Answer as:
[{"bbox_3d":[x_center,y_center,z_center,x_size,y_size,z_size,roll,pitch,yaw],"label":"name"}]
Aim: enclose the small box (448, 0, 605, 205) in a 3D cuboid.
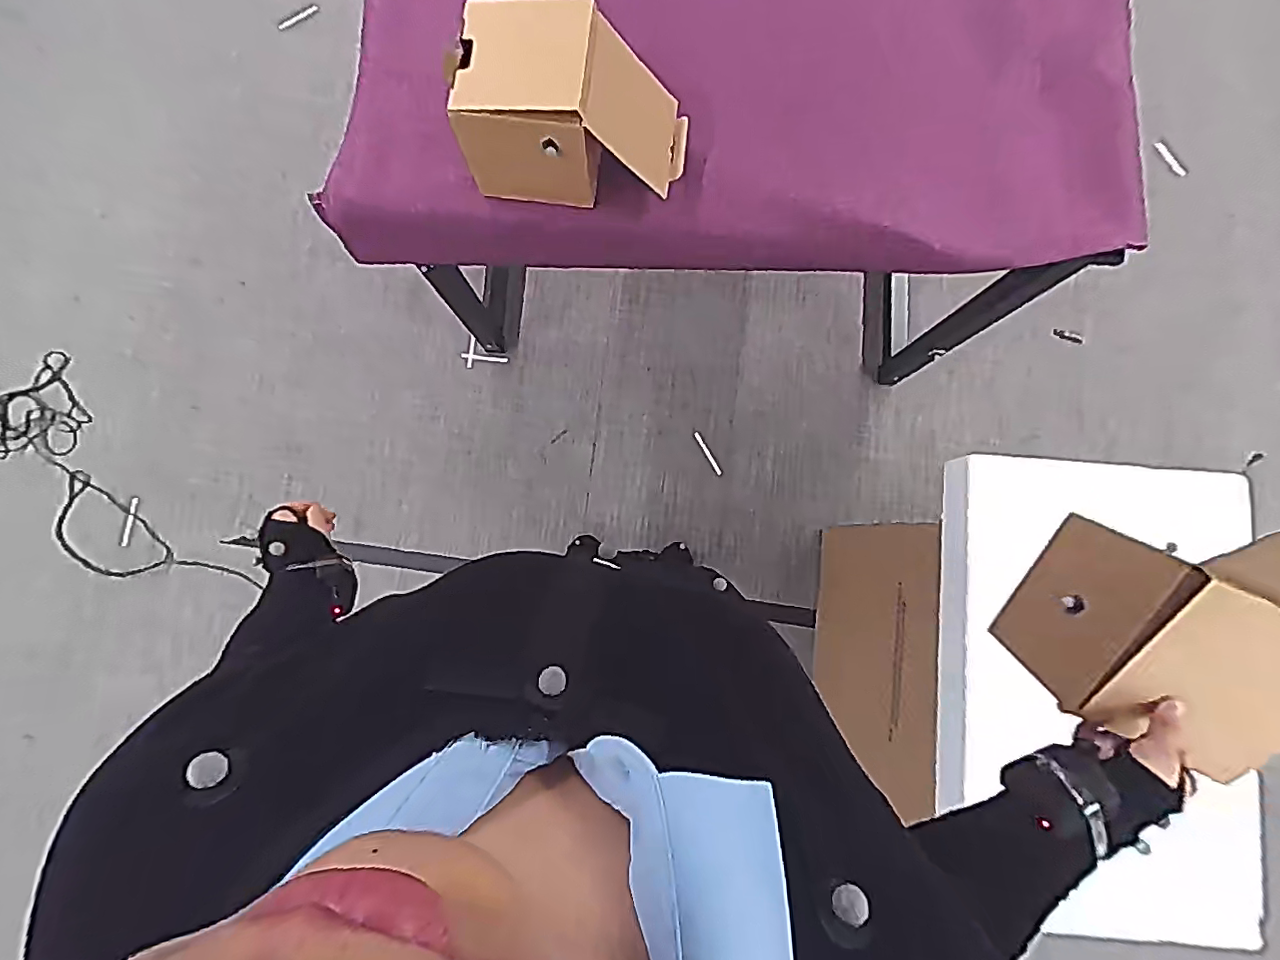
[{"bbox_3d":[-0.147,-0.522,0.771,0.179,0.176,0.168,7,82,1],"label":"small box"}]
